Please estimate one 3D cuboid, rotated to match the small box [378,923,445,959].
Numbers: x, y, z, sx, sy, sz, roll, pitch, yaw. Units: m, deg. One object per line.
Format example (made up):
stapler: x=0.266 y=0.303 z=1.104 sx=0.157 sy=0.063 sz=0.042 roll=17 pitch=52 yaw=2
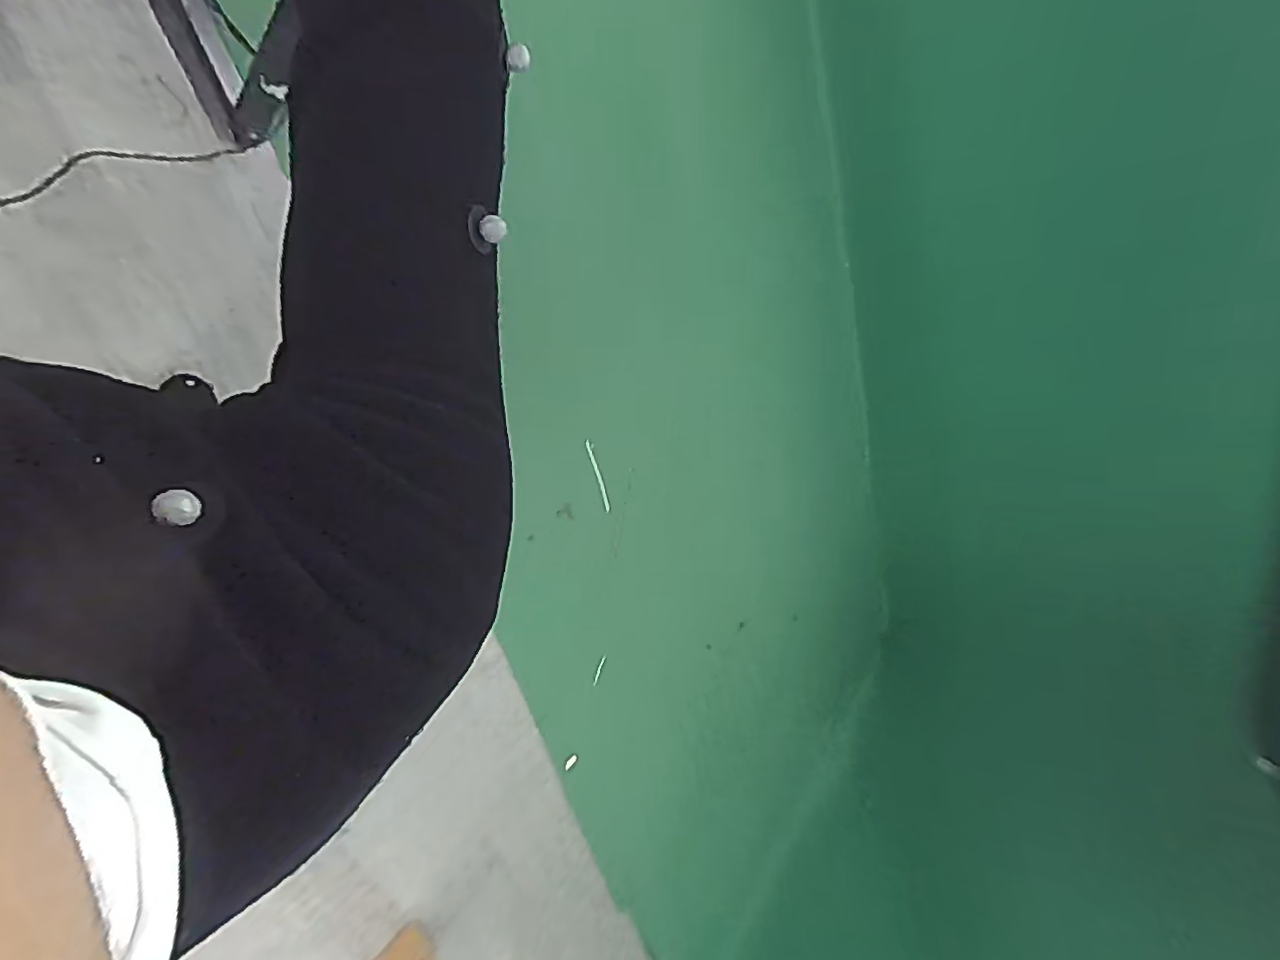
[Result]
small box: x=-0.712 y=1.560 z=1.697 sx=0.179 sy=0.176 sz=0.168 roll=-34 pitch=117 yaw=-37
